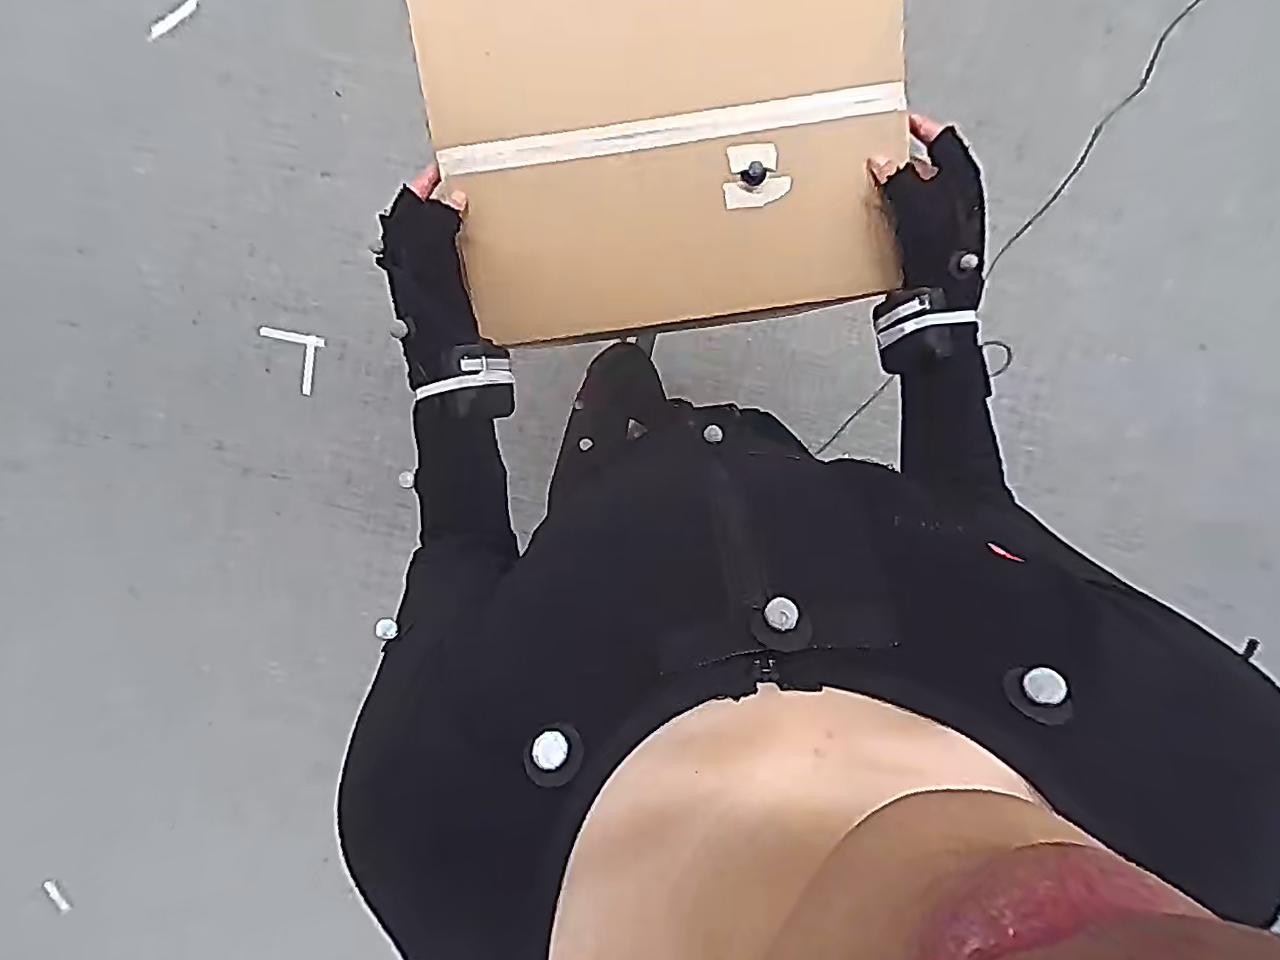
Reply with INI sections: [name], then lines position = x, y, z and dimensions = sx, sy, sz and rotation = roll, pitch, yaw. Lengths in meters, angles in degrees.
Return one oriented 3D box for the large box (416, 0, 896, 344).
[large box]
position = 0.019, -0.345, 0.623
dimensions = 0.408, 0.320, 0.320
rotation = -8, 103, 0
